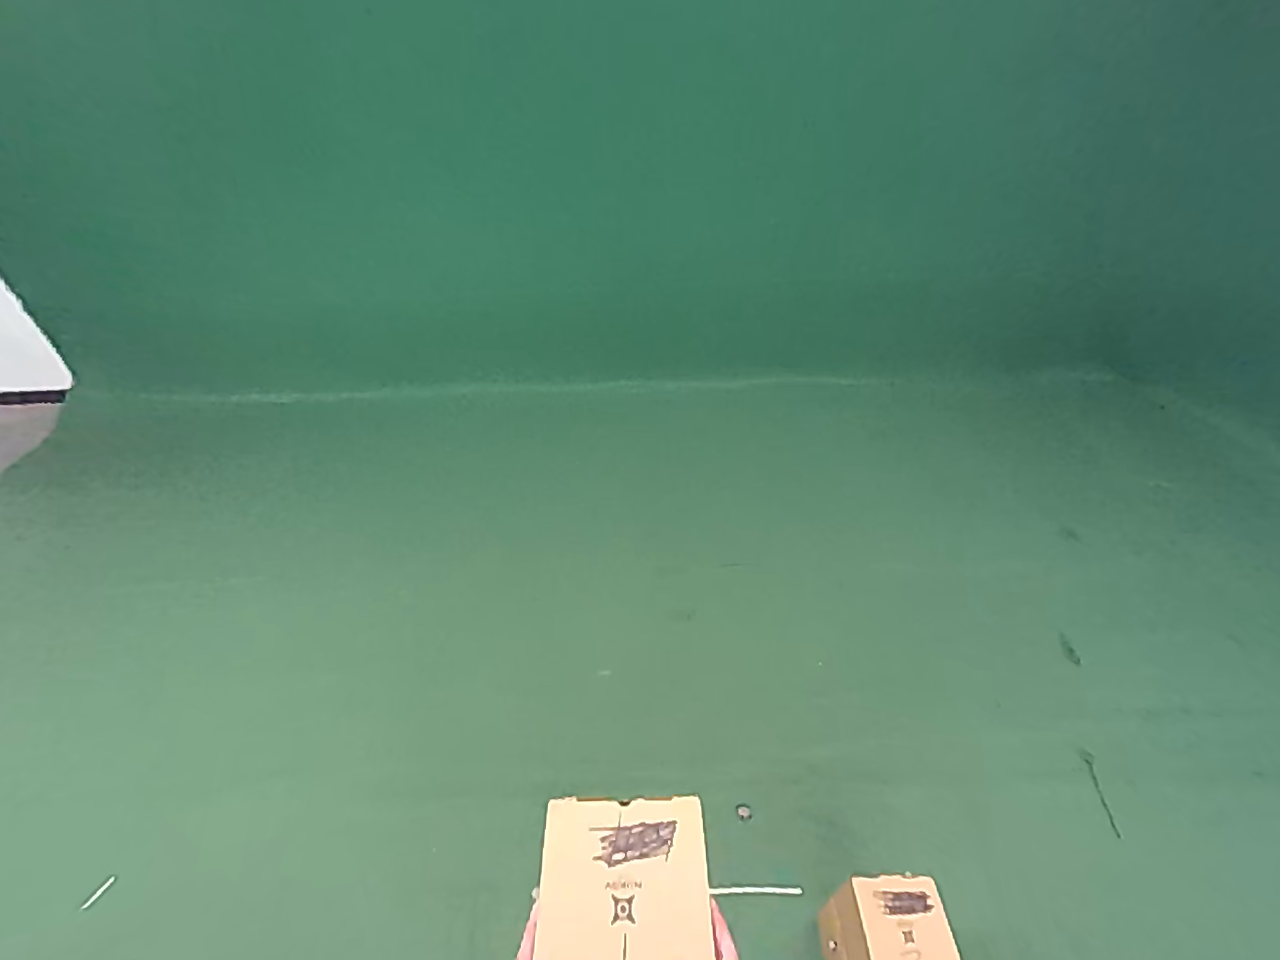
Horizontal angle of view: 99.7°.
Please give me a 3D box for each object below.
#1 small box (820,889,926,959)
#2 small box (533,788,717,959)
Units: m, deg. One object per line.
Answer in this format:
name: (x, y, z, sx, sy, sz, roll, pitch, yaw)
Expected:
small box: (0.509, 1.030, 1.190, 0.168, 0.176, 0.179, 0, 42, 1)
small box: (-0.015, 0.449, 0.568, 0.168, 0.176, 0.179, -1, 42, -1)
